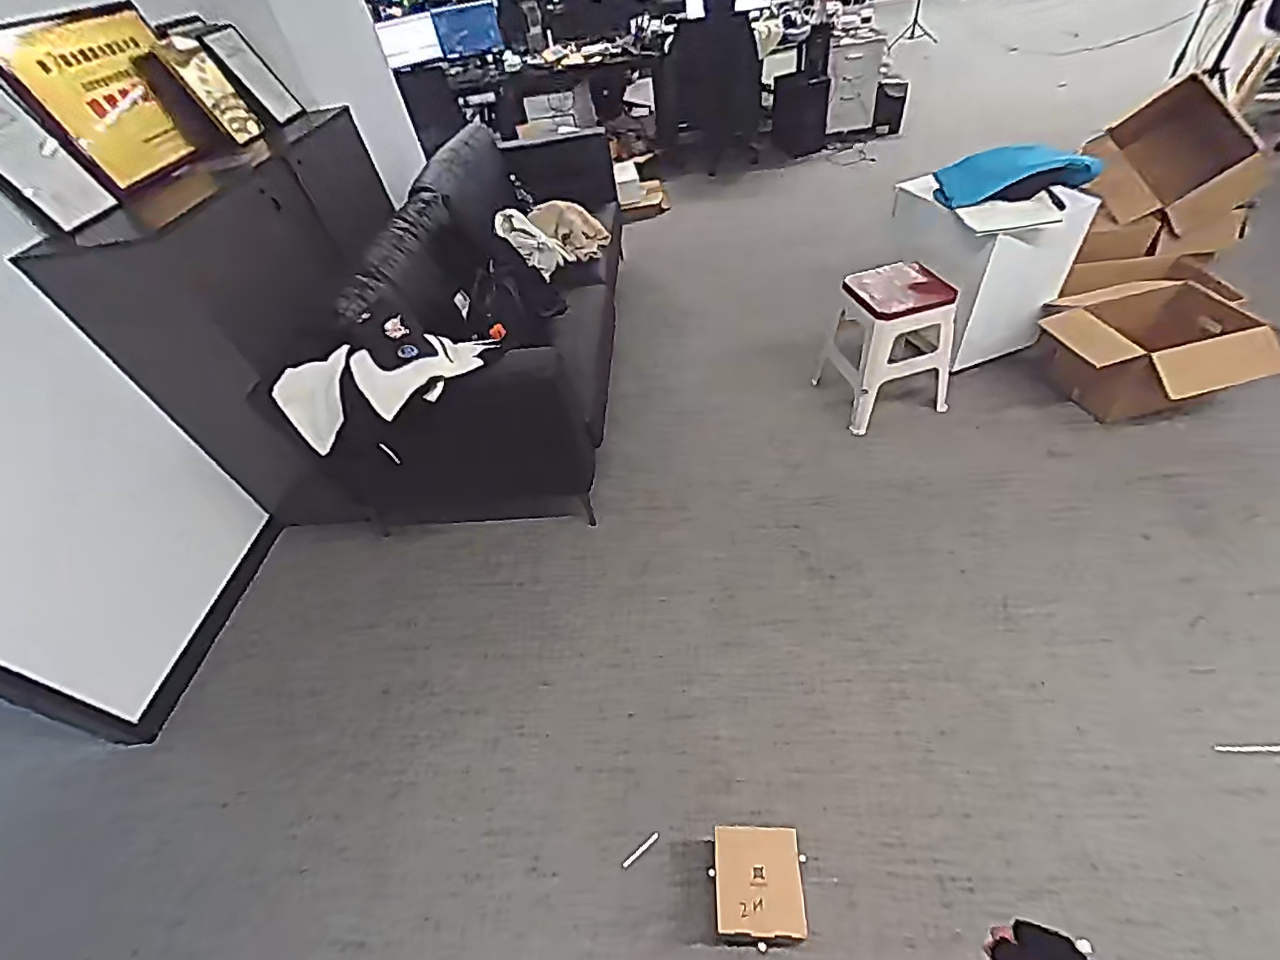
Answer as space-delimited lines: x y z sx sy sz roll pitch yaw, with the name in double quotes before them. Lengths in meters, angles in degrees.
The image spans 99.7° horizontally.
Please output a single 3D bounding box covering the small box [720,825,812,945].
"small box" 0.250 0.829 1.109 0.168 0.176 0.179 -4 47 9
